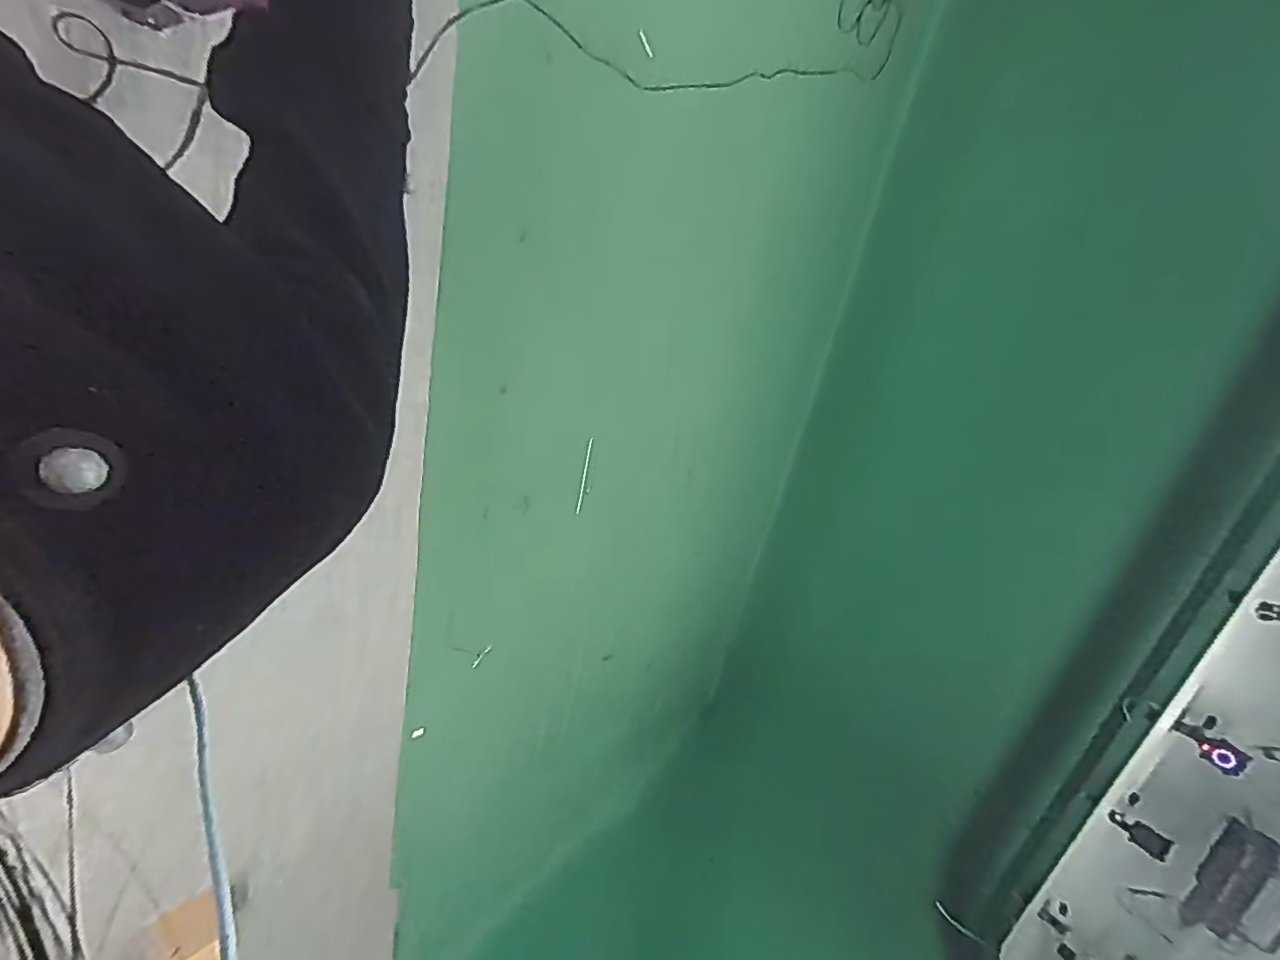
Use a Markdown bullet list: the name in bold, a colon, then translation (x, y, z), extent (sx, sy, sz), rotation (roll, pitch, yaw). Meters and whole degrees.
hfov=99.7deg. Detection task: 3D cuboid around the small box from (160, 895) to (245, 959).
- **small box**: translation (-1.370, 1.471, 1.690), extent (0.179, 0.176, 0.168), rotation (-15, 122, -50)
